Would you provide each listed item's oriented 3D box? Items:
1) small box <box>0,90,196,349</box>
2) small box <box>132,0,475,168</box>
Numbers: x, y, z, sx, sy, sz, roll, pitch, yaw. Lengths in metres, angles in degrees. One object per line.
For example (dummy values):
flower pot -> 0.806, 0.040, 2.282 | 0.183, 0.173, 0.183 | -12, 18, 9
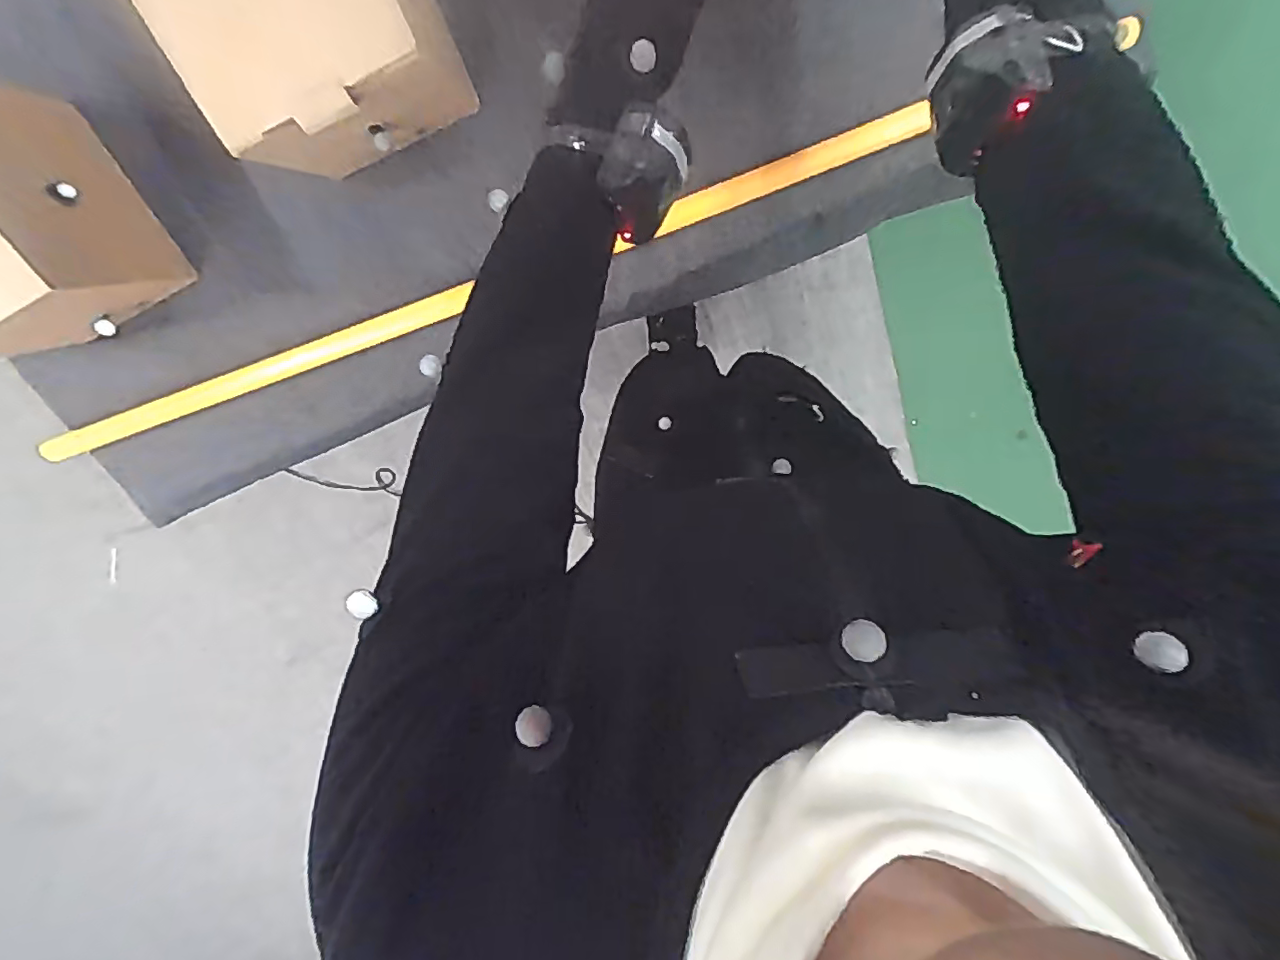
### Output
small box -> -0.577, -0.228, 0.488 | 0.168, 0.176, 0.179 | -23, 112, 9
small box -> -0.260, -0.373, 0.431 | 0.168, 0.176, 0.179 | -22, 111, 11
